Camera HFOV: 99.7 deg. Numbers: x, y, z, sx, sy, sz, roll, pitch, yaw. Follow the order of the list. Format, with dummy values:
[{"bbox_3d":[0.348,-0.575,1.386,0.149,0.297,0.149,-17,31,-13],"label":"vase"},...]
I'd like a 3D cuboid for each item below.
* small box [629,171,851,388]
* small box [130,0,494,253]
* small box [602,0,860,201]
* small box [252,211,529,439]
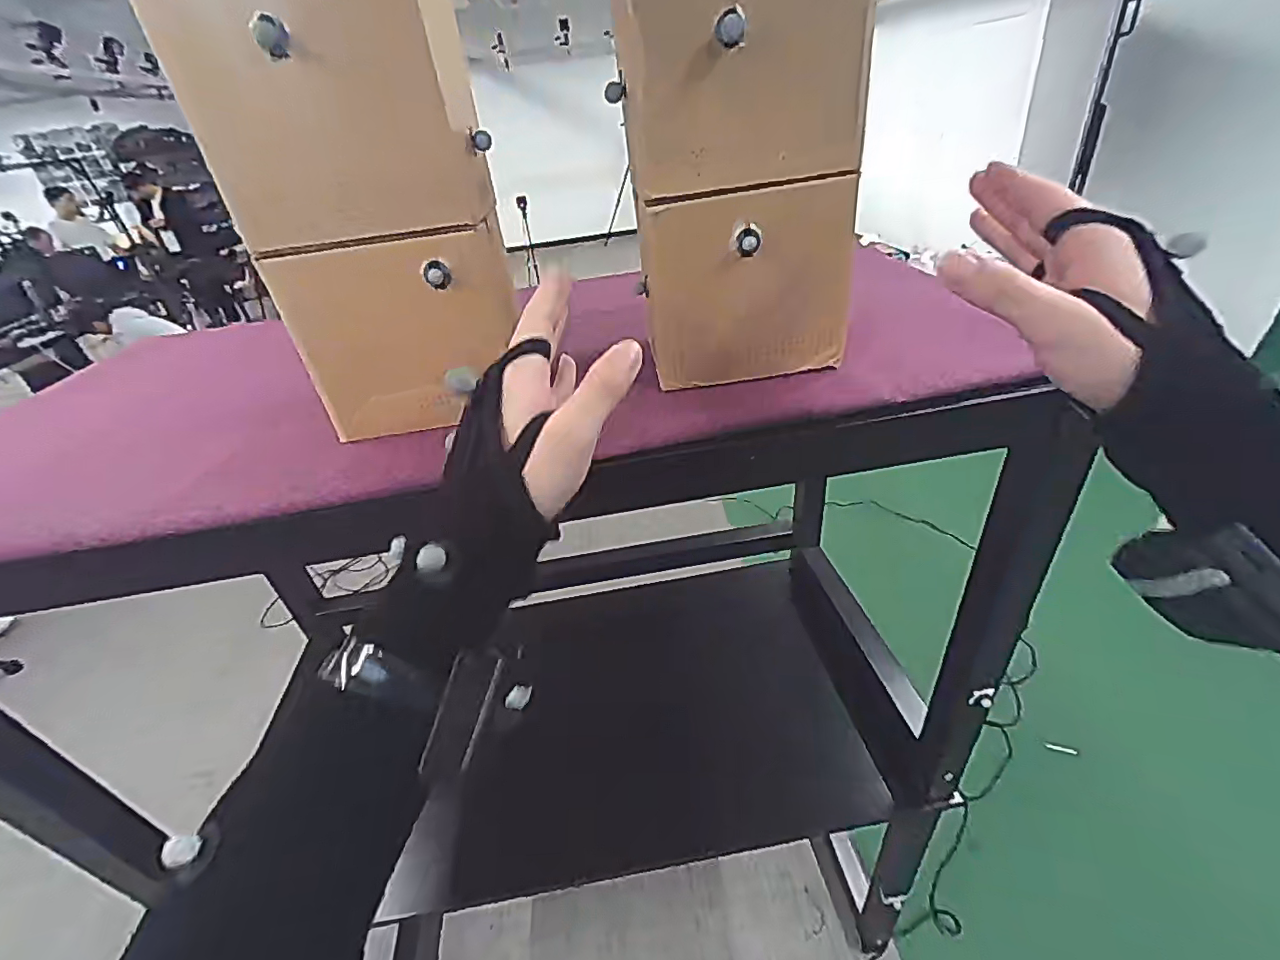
[{"bbox_3d":[0.089,-0.201,0.535,0.179,0.176,0.168,-8,34,1],"label":"small box"},{"bbox_3d":[-0.234,-0.292,0.440,0.179,0.176,0.168,-9,33,-2],"label":"small box"},{"bbox_3d":[0.069,-0.337,0.445,0.179,0.176,0.168,-9,34,1],"label":"small box"},{"bbox_3d":[-0.216,-0.153,0.529,0.179,0.176,0.168,-9,33,-4],"label":"small box"}]
